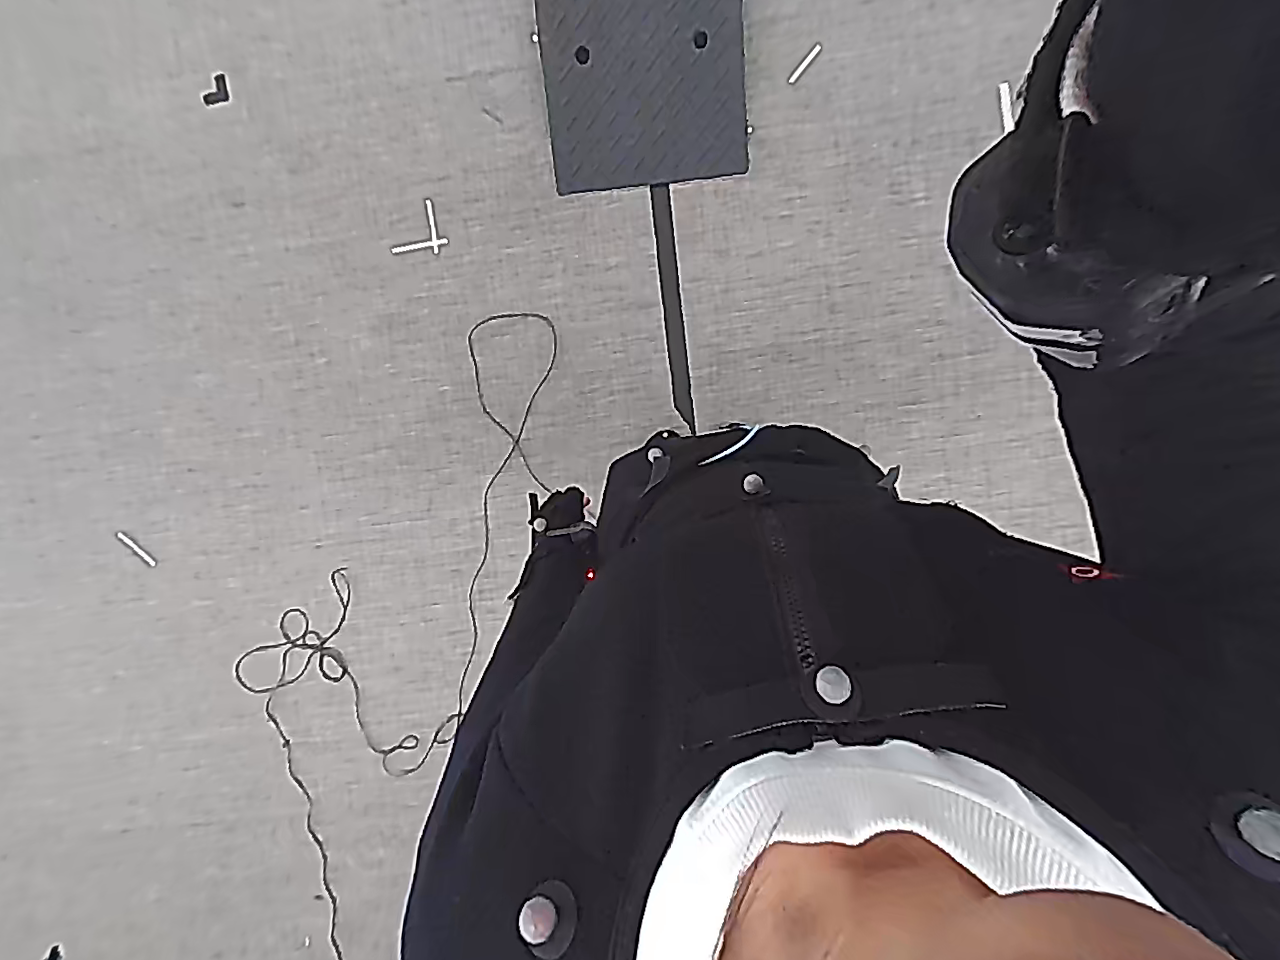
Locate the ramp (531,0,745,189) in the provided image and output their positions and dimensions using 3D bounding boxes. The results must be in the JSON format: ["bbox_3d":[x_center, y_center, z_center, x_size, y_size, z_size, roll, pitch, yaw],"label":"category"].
[{"bbox_3d":[-0.022,-1.244,1.240,0.509,0.206,0.991,-7,96,3],"label":"ramp"}]
